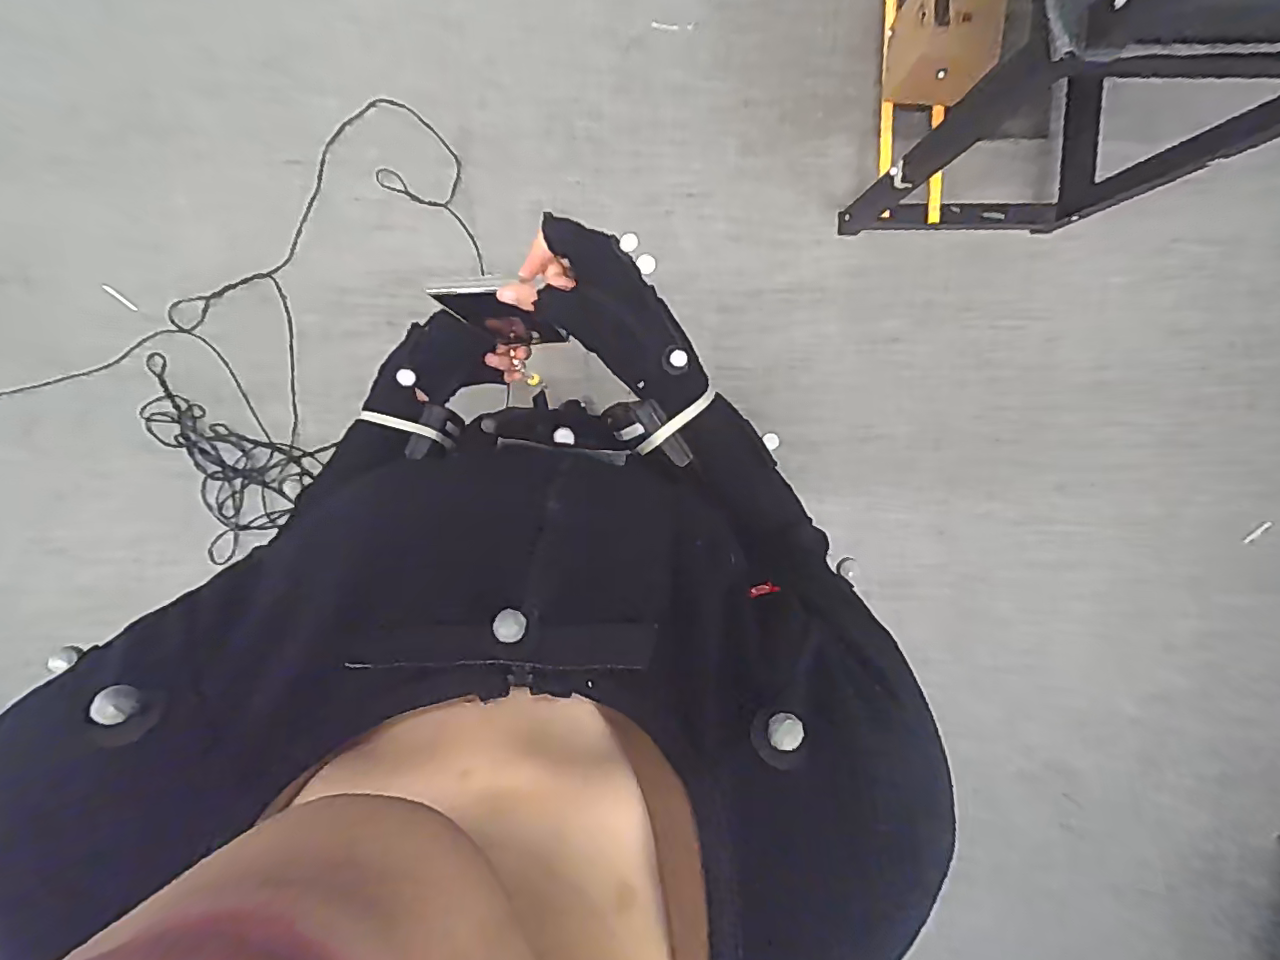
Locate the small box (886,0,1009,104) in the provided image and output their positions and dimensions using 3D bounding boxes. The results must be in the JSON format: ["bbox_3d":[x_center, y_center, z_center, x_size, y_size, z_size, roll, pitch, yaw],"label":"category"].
[{"bbox_3d":[0.666,-0.962,1.187,0.179,0.176,0.168,2,97,-2],"label":"small box"}]
